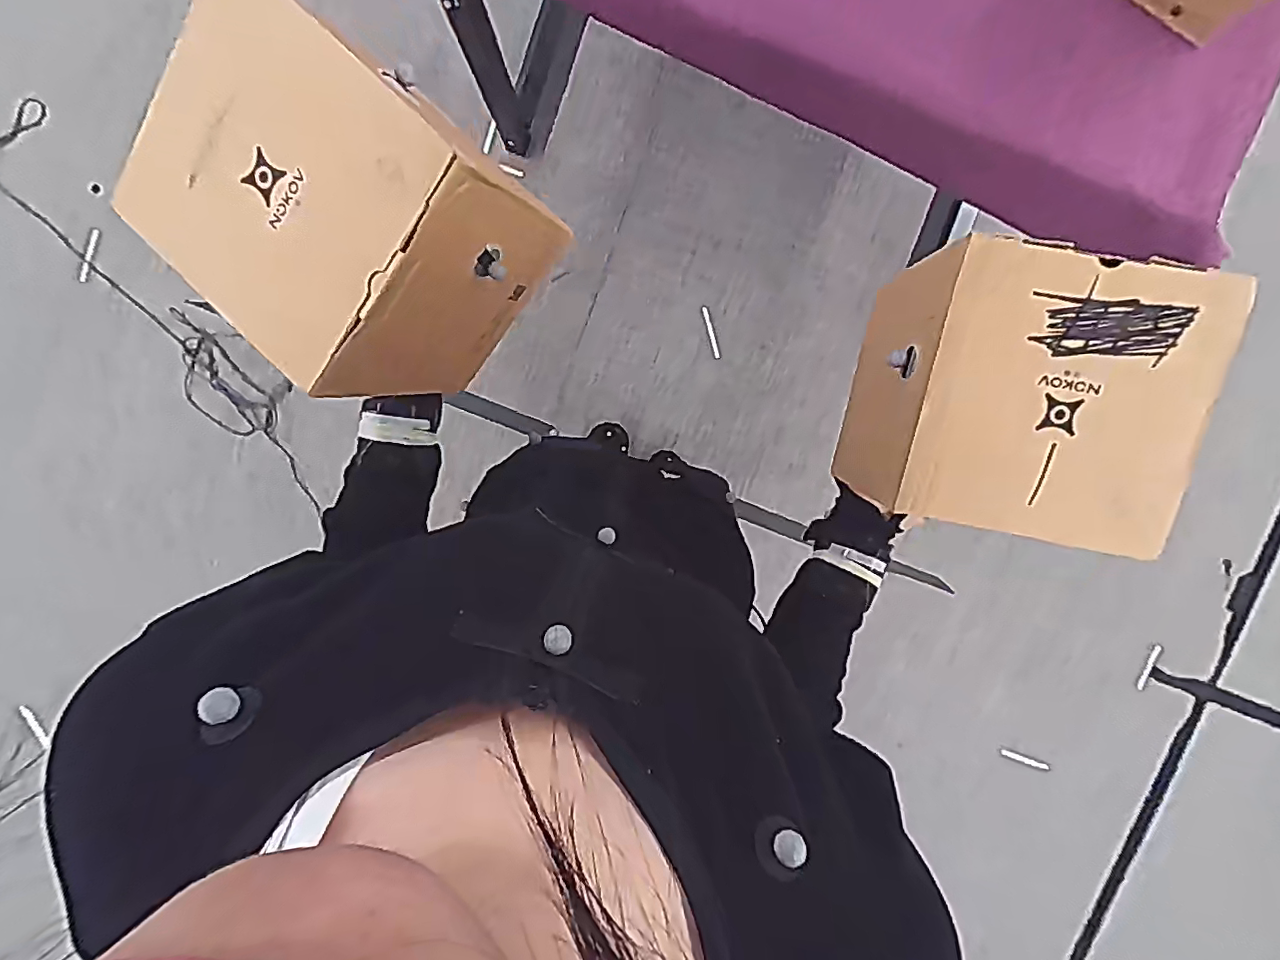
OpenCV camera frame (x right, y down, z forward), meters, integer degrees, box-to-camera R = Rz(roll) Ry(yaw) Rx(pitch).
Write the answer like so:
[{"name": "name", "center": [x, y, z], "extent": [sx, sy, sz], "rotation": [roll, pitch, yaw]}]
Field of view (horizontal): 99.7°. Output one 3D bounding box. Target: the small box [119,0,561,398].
[{"name": "small box", "center": [-0.185, -0.178, 0.380], "extent": [0.179, 0.176, 0.168], "rotation": [43, 106, 4]}]

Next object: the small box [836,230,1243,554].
[{"name": "small box", "center": [0.266, -0.064, 0.413], "extent": [0.168, 0.176, 0.179], "rotation": [11, 100, 4]}]
